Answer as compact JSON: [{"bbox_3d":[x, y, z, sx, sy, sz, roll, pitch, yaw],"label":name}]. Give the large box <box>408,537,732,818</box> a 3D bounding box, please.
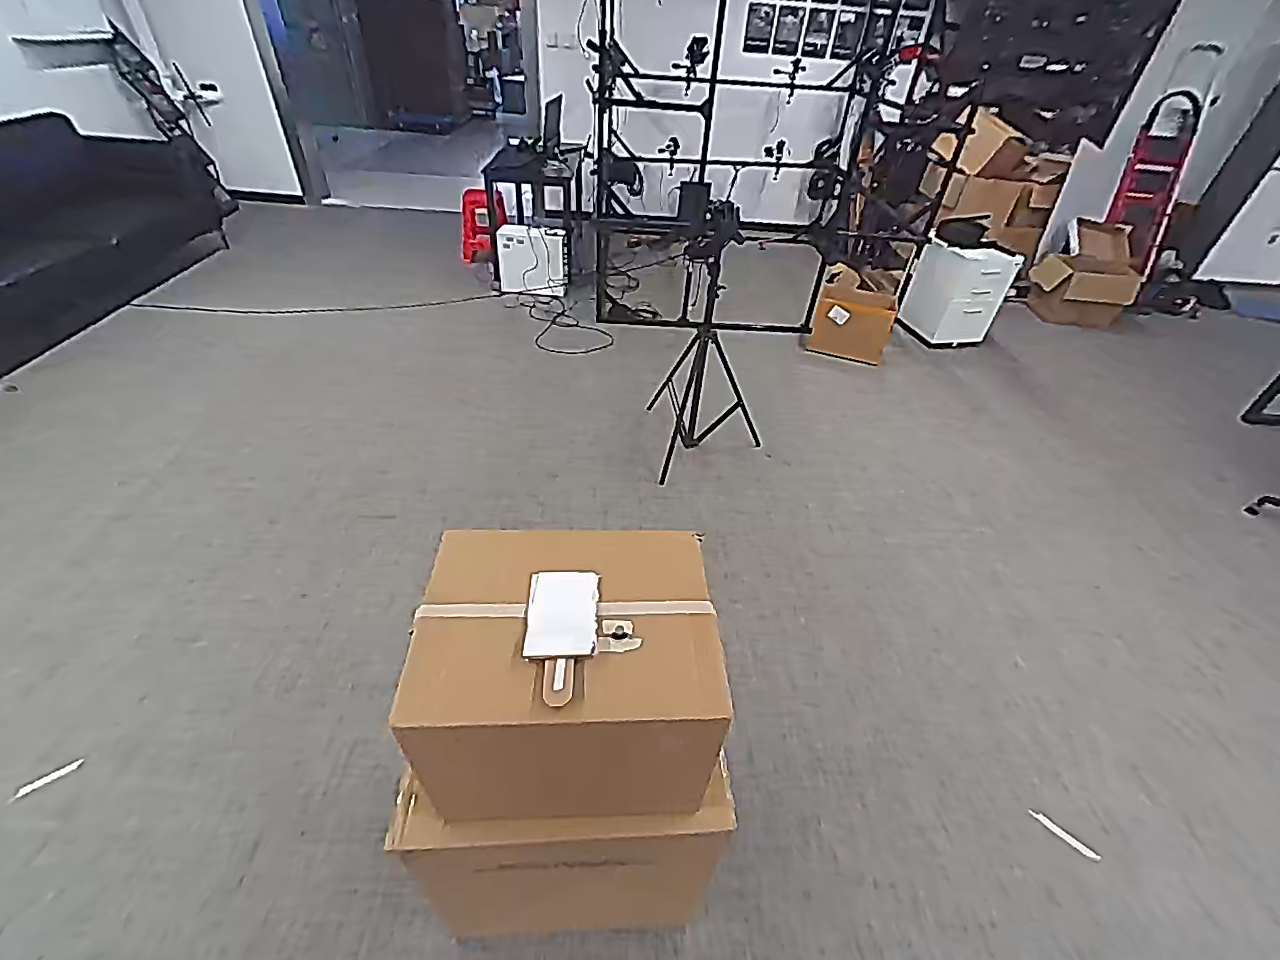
[{"bbox_3d":[-0.102,0.306,0.863,0.408,0.320,0.320,1,40,-5],"label":"large box"}]
